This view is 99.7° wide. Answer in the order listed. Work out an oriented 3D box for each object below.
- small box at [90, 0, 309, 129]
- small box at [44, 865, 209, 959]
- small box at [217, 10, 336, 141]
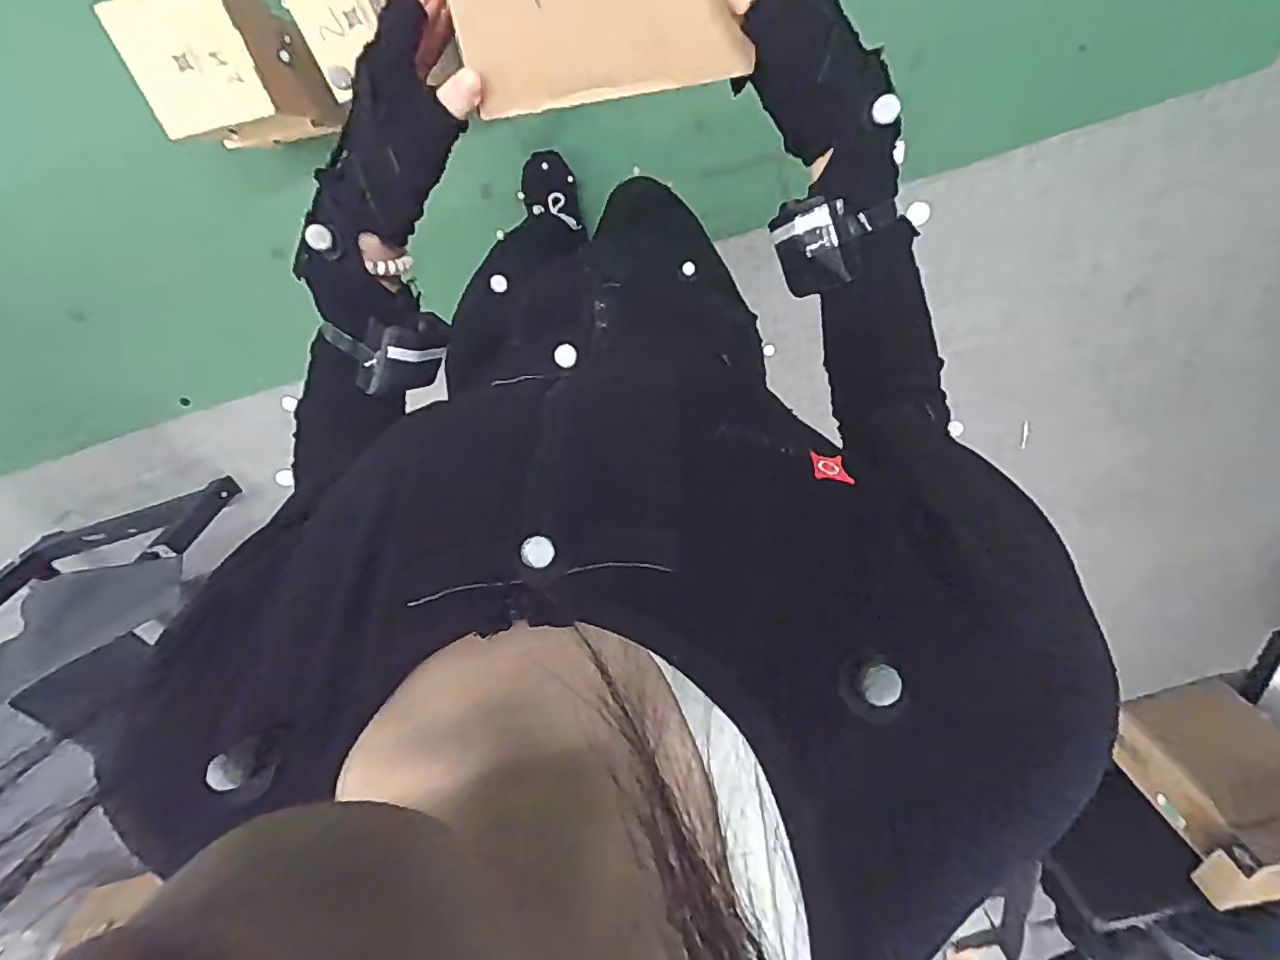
[{"bbox_3d":[-0.673,-0.667,0.853,0.179,0.176,0.168,-13,123,0],"label":"small box"},{"bbox_3d":[-1.100,0.976,1.169,0.179,0.176,0.168,-17,124,1],"label":"small box"},{"bbox_3d":[-0.700,-0.744,0.997,0.168,0.176,0.179,-13,123,0],"label":"small box"}]
